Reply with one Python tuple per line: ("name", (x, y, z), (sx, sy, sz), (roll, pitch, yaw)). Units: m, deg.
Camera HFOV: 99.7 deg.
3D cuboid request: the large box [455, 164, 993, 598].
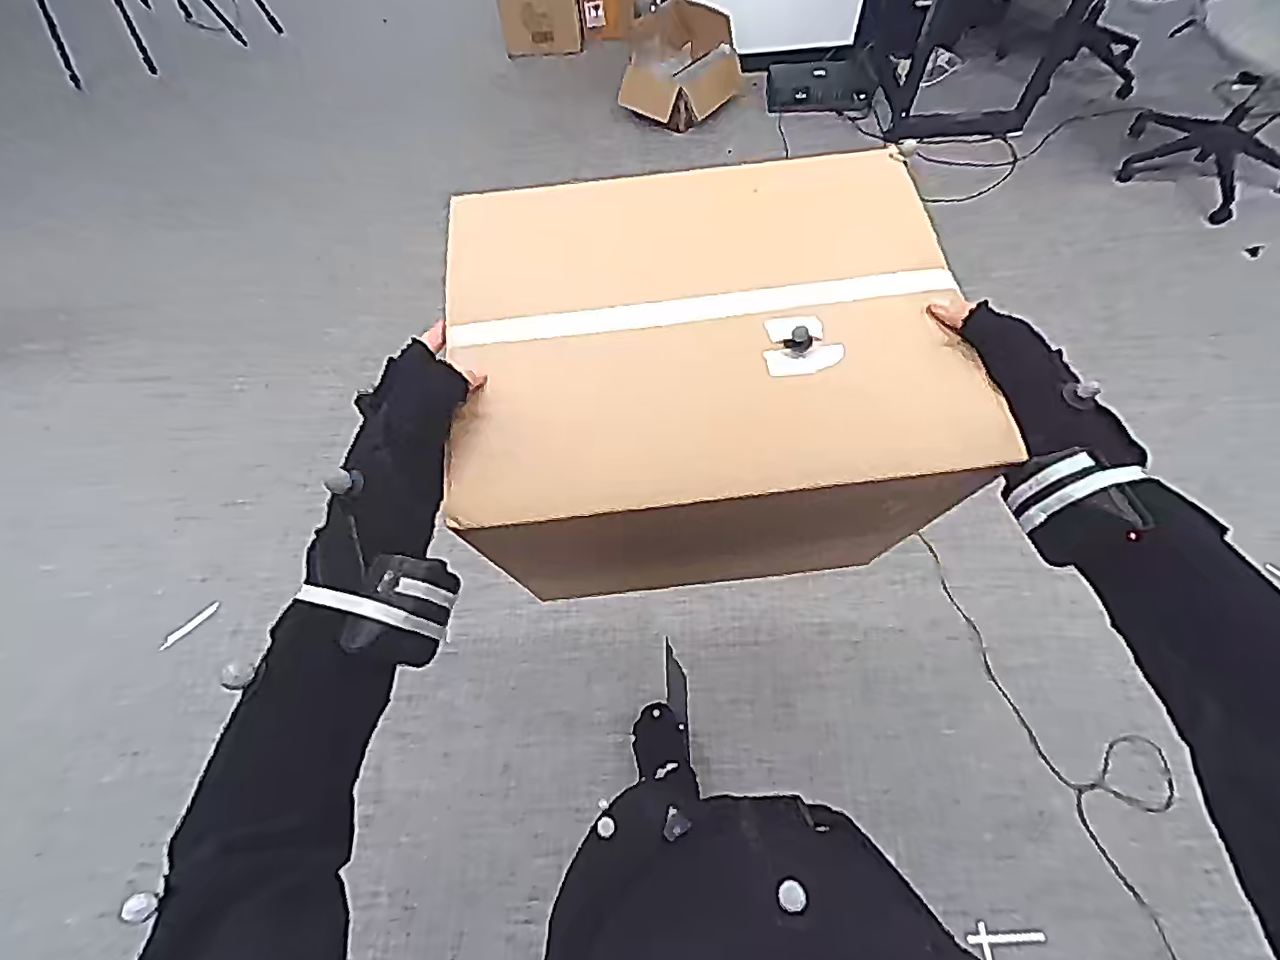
("large box", (0.048, -0.075, 0.583), (0.408, 0.320, 0.320), (-7, 68, -1))
